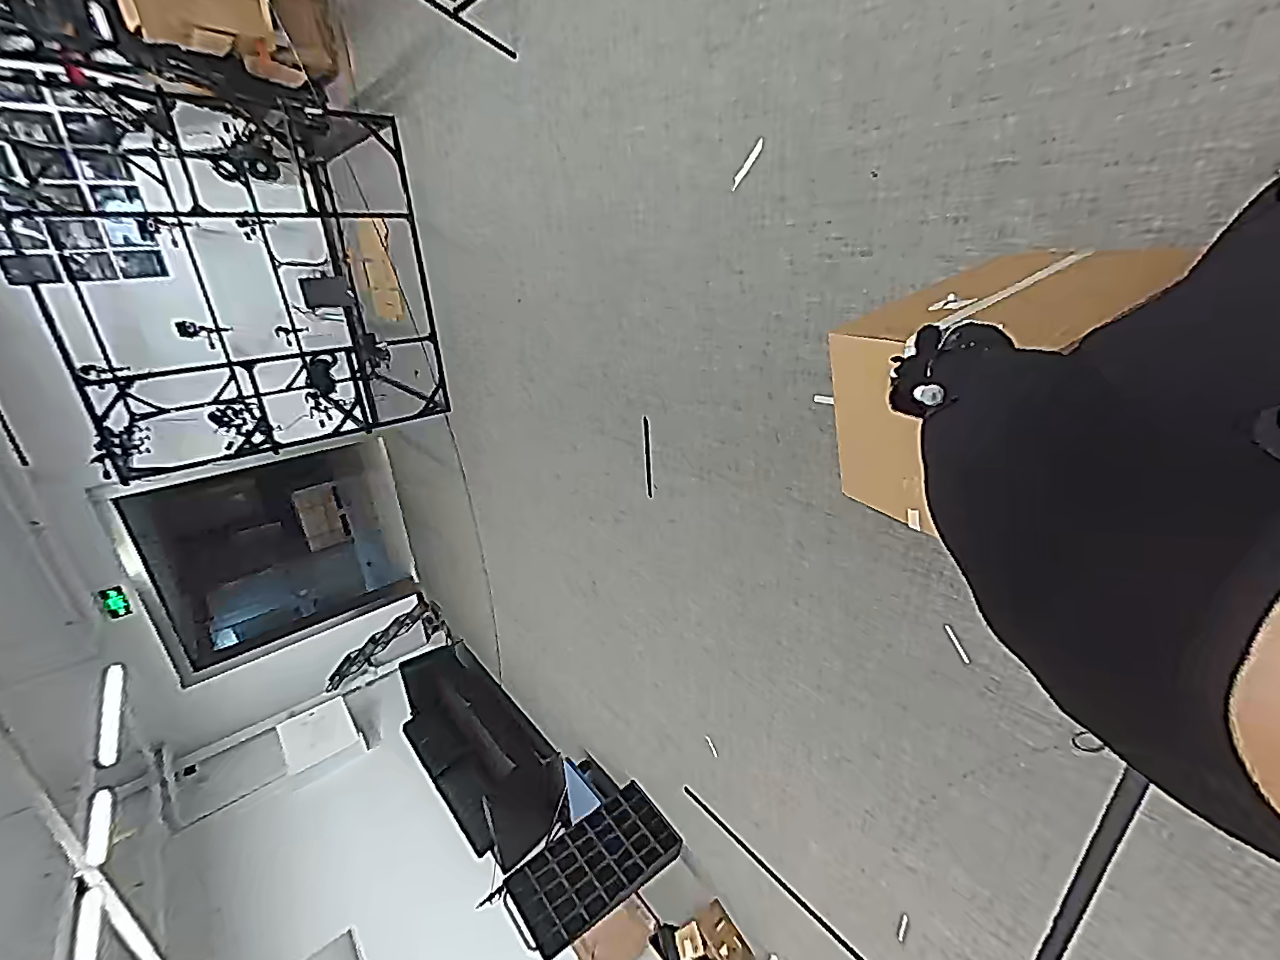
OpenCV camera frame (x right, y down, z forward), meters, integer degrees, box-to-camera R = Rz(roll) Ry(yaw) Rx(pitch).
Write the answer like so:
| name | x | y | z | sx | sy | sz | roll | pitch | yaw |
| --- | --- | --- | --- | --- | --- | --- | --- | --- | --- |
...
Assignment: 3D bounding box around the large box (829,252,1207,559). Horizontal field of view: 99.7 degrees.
| name | x | y | z | sx | sy | sz | roll | pitch | yaw |
| --- | --- | --- | --- | --- | --- | --- | --- | --- | --- |
| large box | 0.572 | -0.144 | 0.866 | 0.320 | 0.408 | 0.320 | 36 | 148 | 57 |
